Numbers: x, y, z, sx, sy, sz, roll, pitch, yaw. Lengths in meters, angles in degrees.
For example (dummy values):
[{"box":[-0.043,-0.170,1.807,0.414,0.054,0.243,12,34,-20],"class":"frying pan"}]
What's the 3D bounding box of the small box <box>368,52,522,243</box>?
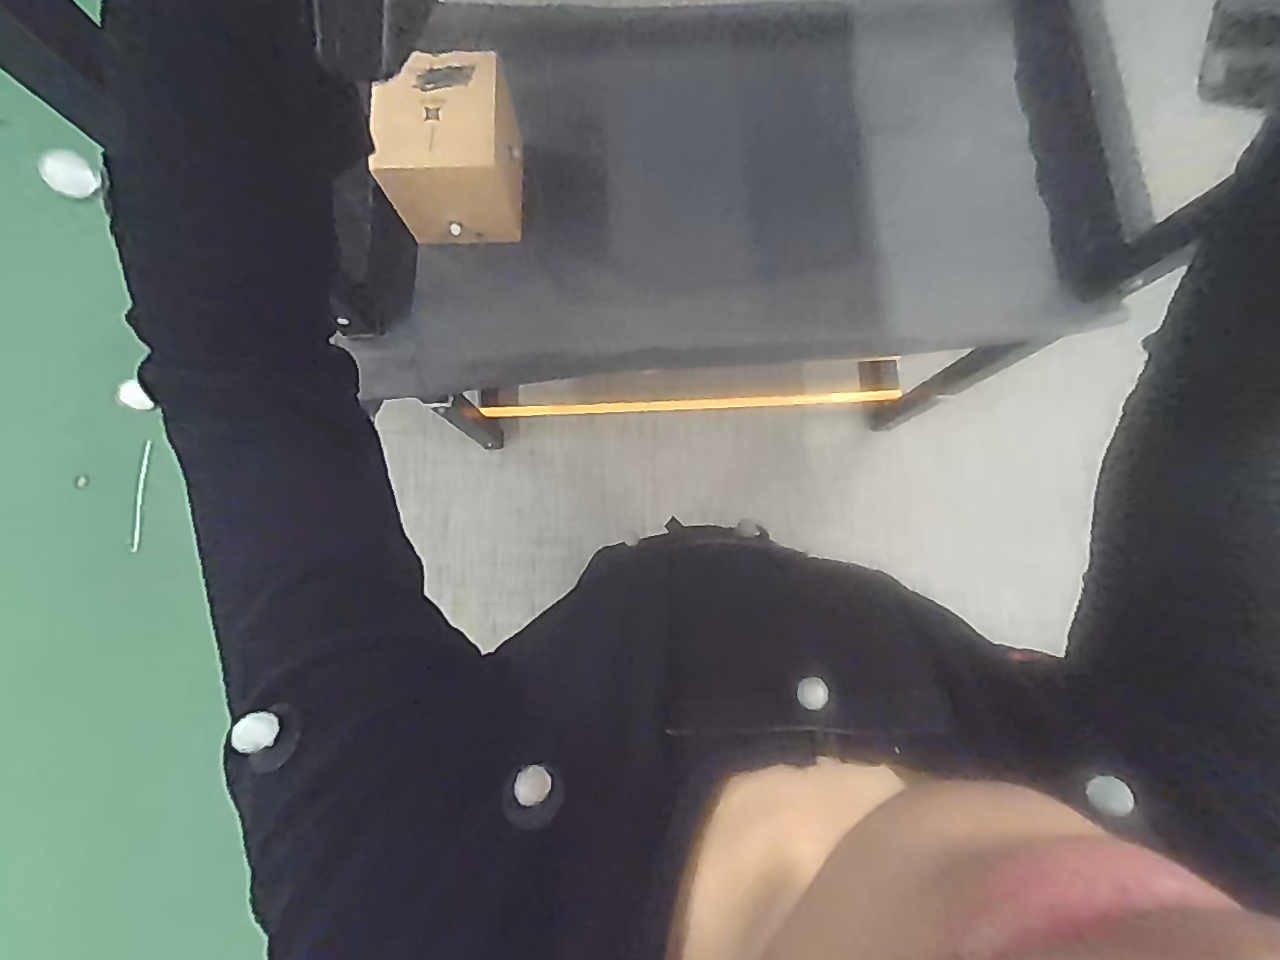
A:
[{"box":[-0.272,-0.474,0.788,0.168,0.176,0.179,-2,81,-1],"class":"small box"}]
